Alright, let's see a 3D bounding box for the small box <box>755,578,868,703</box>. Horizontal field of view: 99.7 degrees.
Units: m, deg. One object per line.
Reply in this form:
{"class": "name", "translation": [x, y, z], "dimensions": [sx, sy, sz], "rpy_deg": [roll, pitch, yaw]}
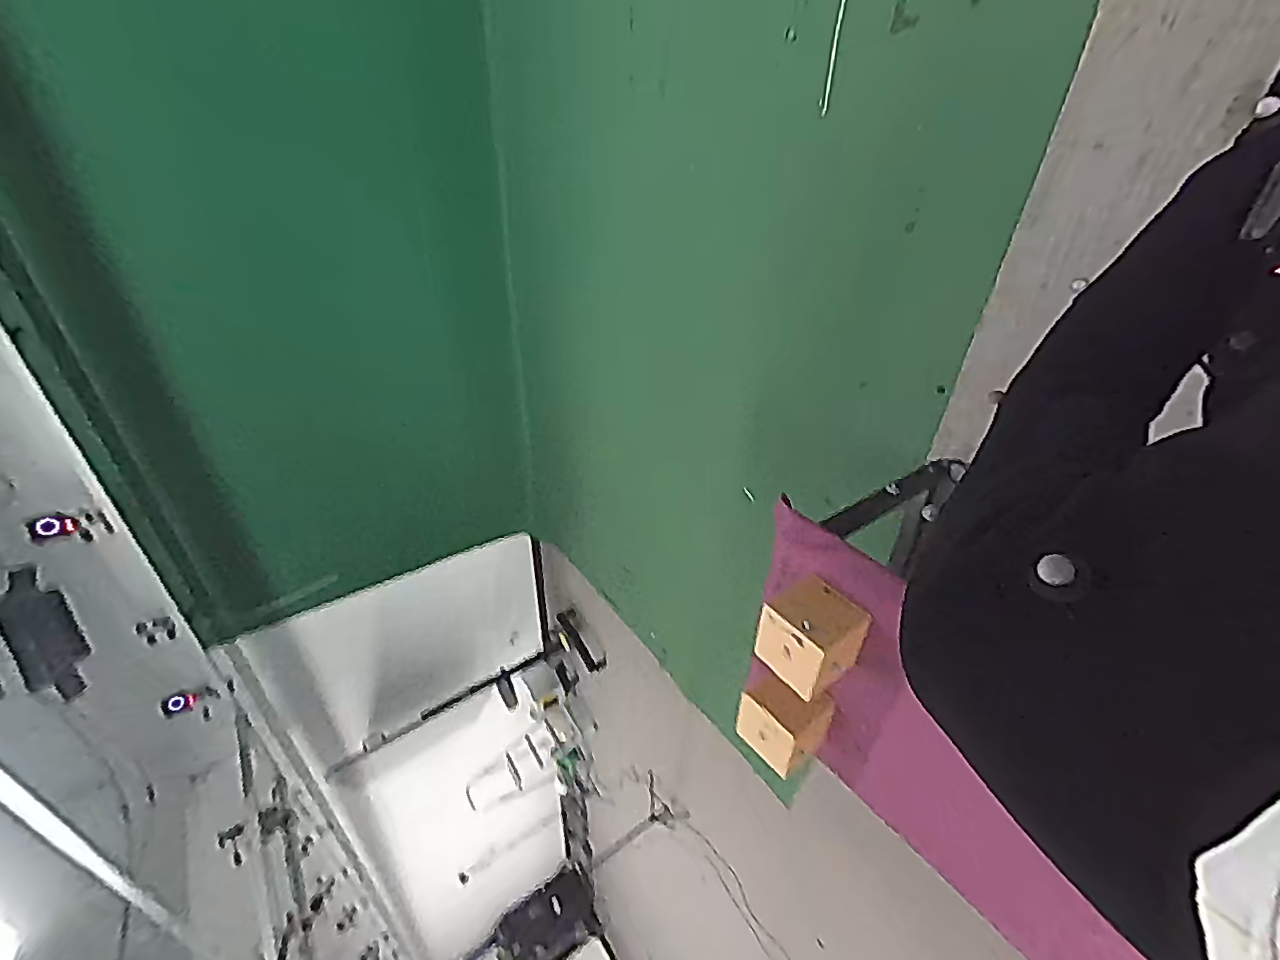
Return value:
{"class": "small box", "translation": [0.388, 0.358, 1.228], "dimensions": [0.168, 0.176, 0.179], "rpy_deg": [37, 139, 40]}

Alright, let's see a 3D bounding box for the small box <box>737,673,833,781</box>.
{"class": "small box", "translation": [0.375, 0.625, 1.402], "dimensions": [0.168, 0.176, 0.179], "rpy_deg": [33, 133, 41]}
